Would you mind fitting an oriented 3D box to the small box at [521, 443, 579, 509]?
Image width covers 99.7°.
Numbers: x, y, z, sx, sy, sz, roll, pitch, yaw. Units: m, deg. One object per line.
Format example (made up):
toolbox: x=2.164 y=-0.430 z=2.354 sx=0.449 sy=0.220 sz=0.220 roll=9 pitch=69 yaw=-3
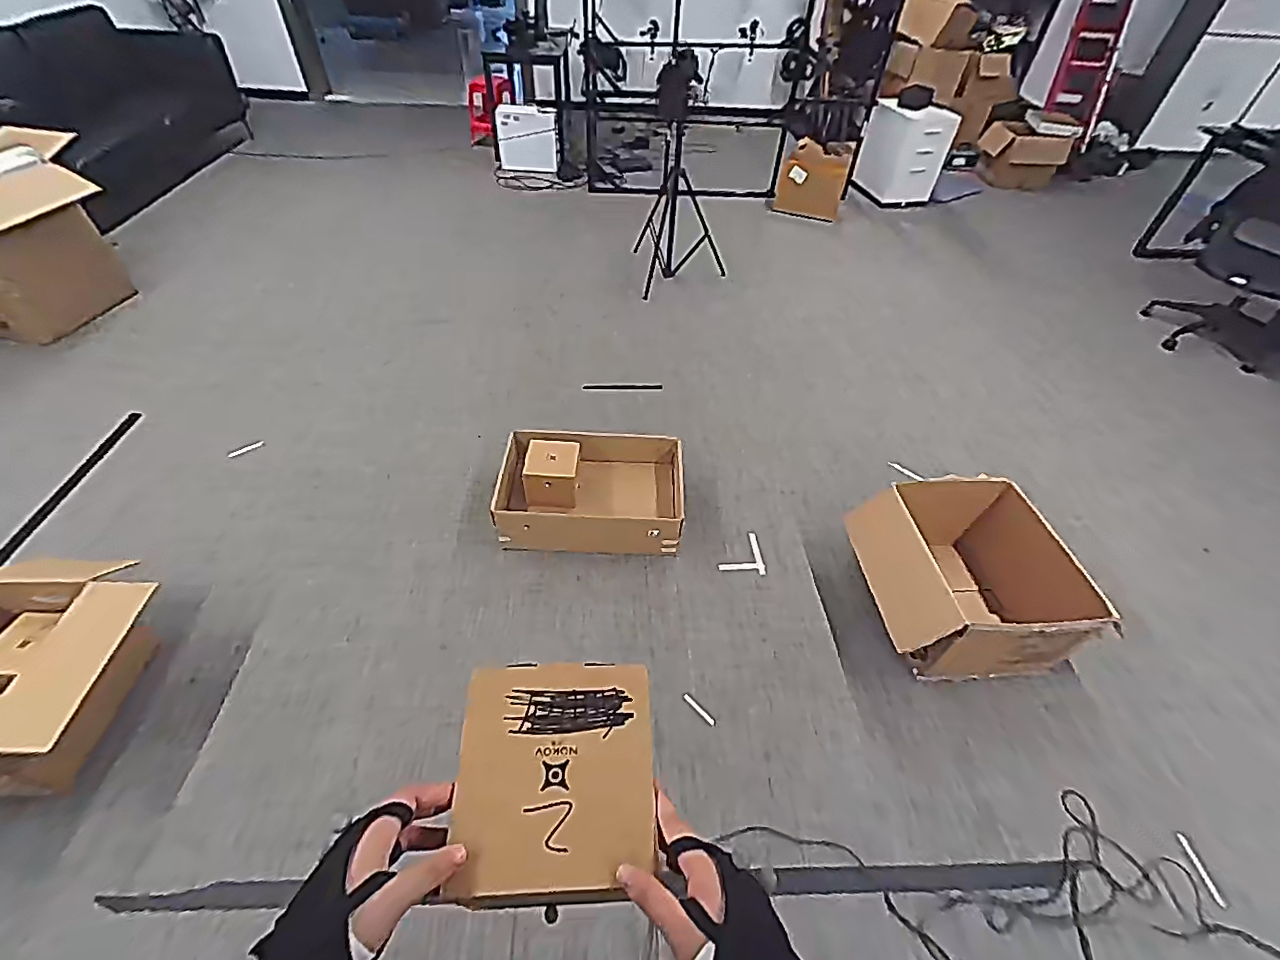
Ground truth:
small box: x=-0.312 y=-0.011 z=1.908 sx=0.179 sy=0.176 sz=0.168 roll=4 pitch=49 yaw=-2
